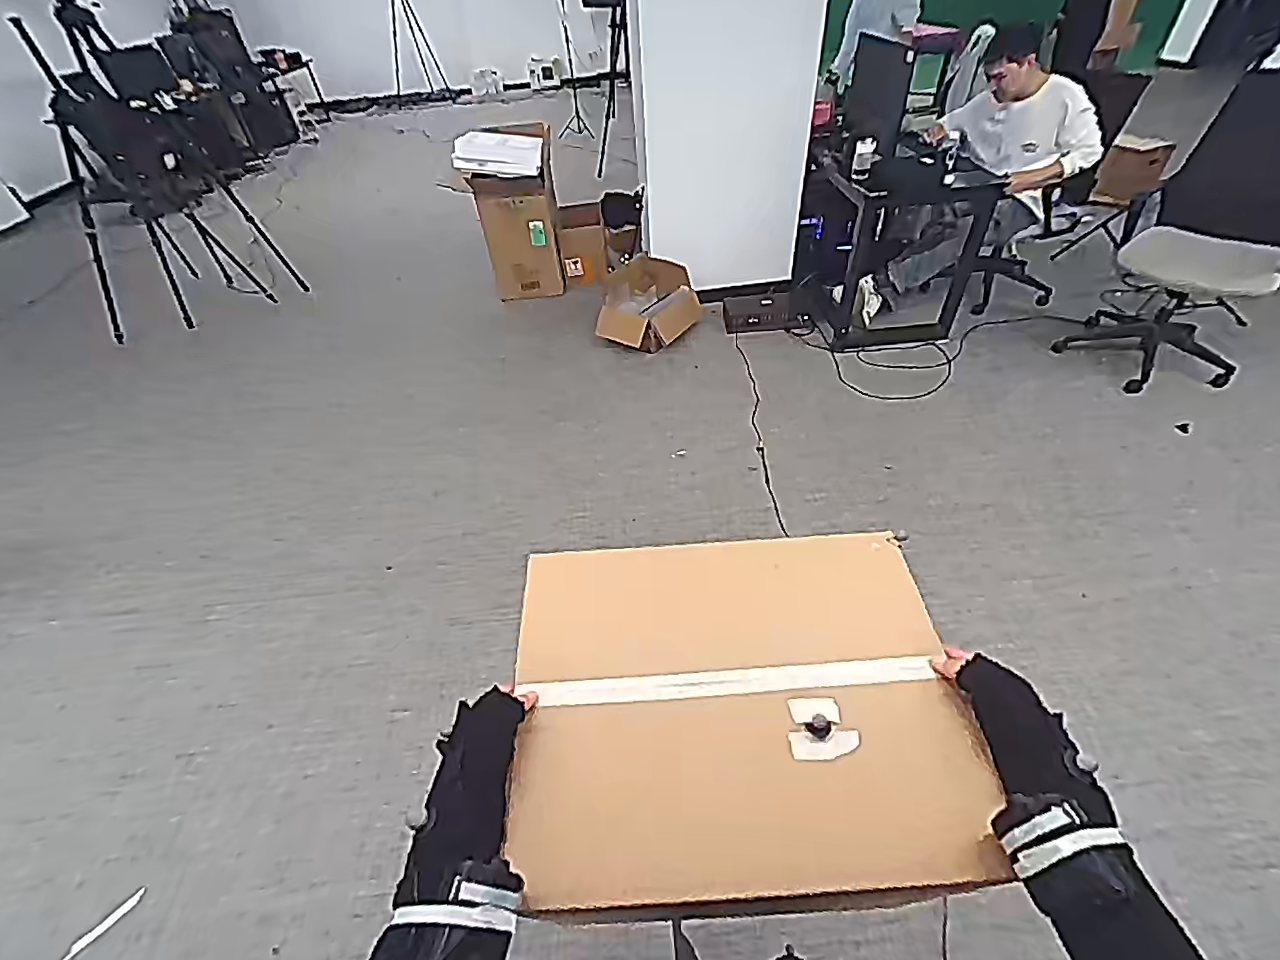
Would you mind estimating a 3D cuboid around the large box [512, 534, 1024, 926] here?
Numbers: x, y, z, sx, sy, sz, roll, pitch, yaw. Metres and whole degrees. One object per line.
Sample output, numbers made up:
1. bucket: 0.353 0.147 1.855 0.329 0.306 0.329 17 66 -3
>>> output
1. large box: 0.094 0.288 0.618 0.408 0.320 0.320 -4 49 0
